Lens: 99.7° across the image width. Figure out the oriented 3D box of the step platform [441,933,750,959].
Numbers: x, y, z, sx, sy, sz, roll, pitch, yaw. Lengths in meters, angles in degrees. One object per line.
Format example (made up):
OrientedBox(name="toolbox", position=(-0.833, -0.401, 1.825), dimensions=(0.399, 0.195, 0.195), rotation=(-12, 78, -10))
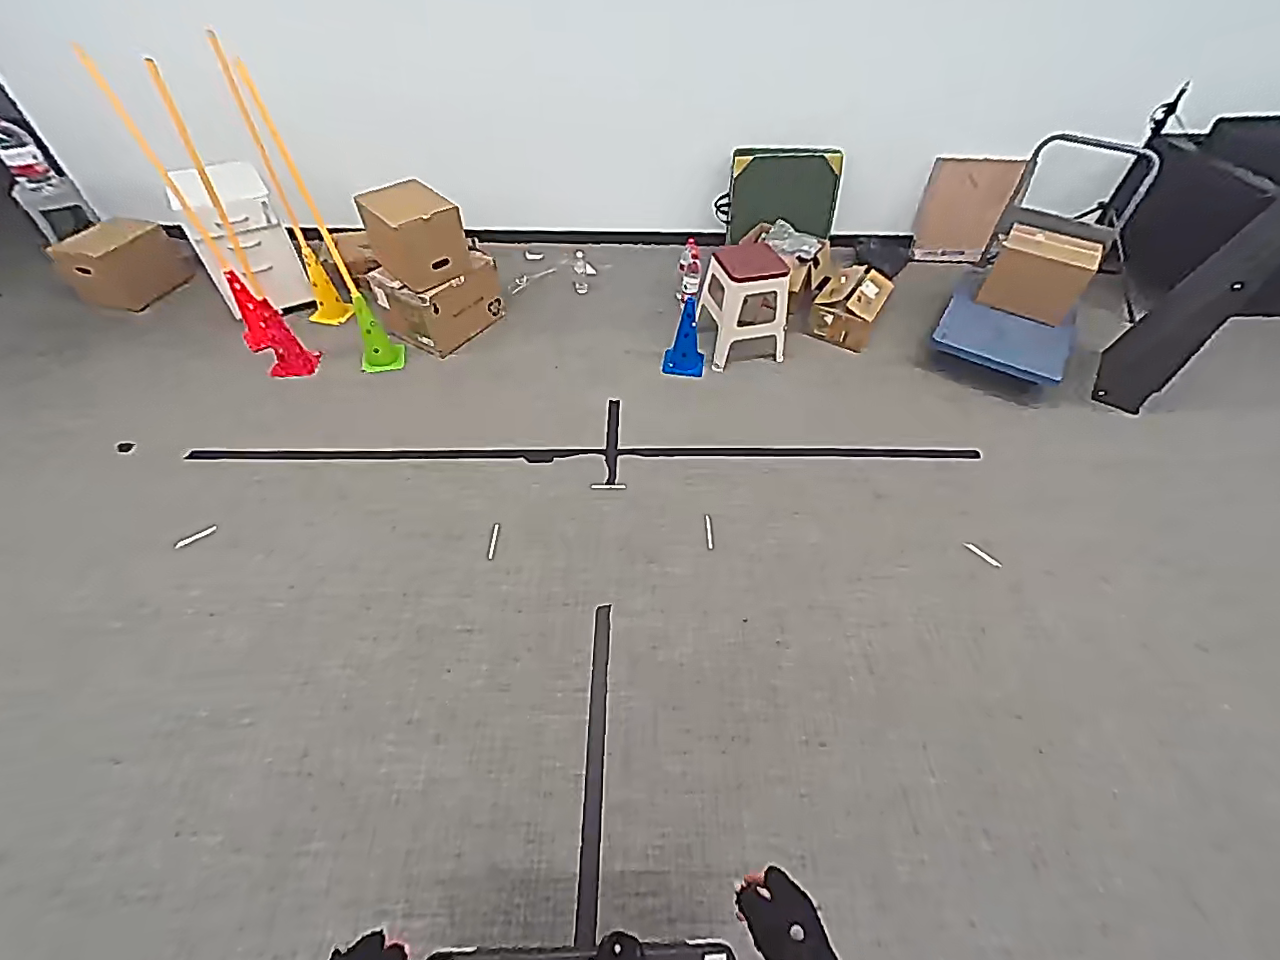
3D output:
OrientedBox(name="step platform", position=(-0.093, 1.122, 1.101), dimensions=(0.684, 0.204, 0.286), rotation=(0, 49, -3))
